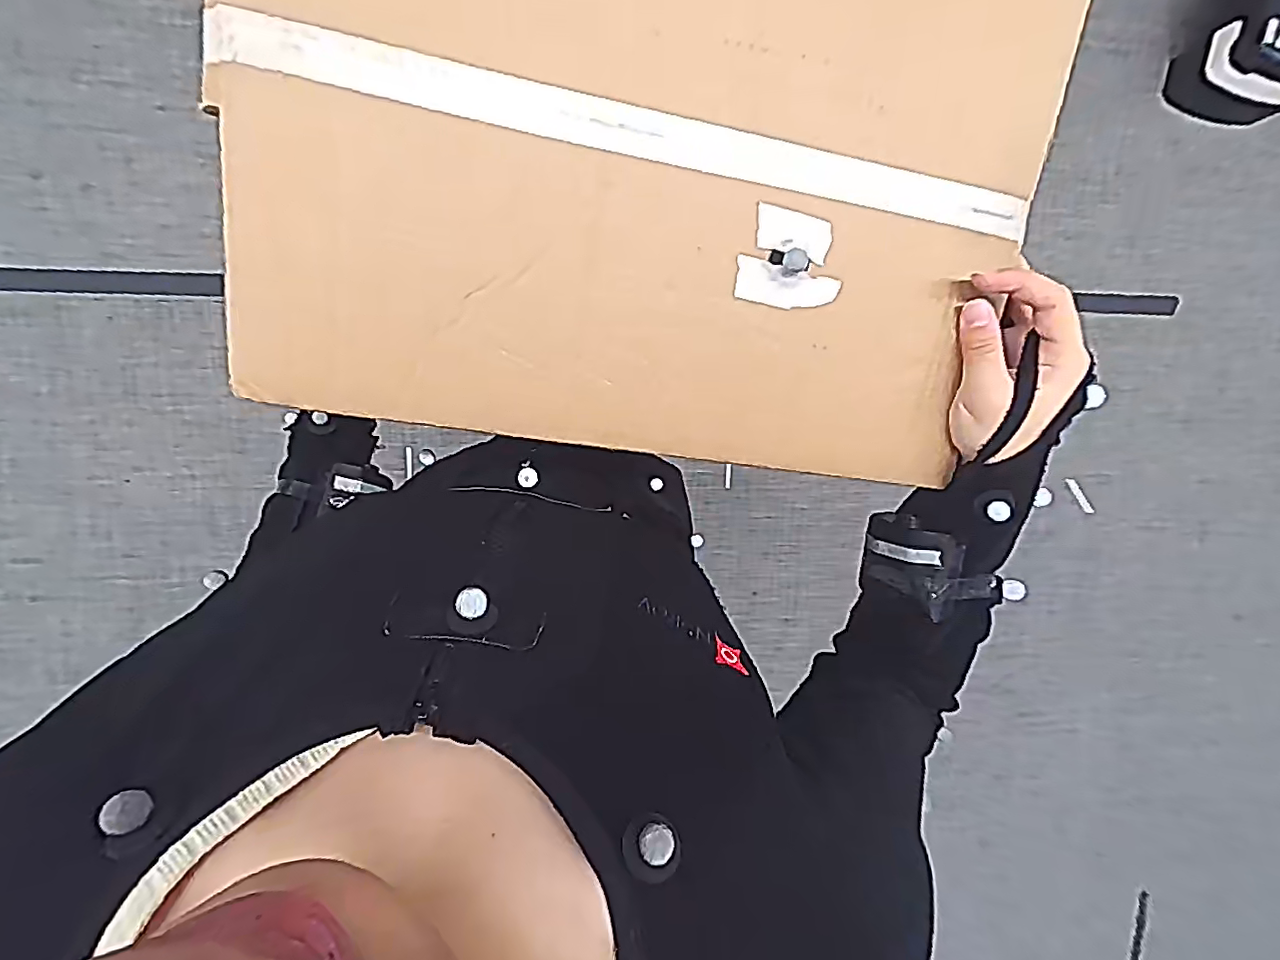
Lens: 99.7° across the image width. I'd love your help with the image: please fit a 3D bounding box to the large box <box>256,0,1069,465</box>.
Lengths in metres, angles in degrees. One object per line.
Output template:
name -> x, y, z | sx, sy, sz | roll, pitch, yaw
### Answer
large box -> -0.004, -0.210, 0.420 | 0.408, 0.320, 0.320 | 6, 104, -12
